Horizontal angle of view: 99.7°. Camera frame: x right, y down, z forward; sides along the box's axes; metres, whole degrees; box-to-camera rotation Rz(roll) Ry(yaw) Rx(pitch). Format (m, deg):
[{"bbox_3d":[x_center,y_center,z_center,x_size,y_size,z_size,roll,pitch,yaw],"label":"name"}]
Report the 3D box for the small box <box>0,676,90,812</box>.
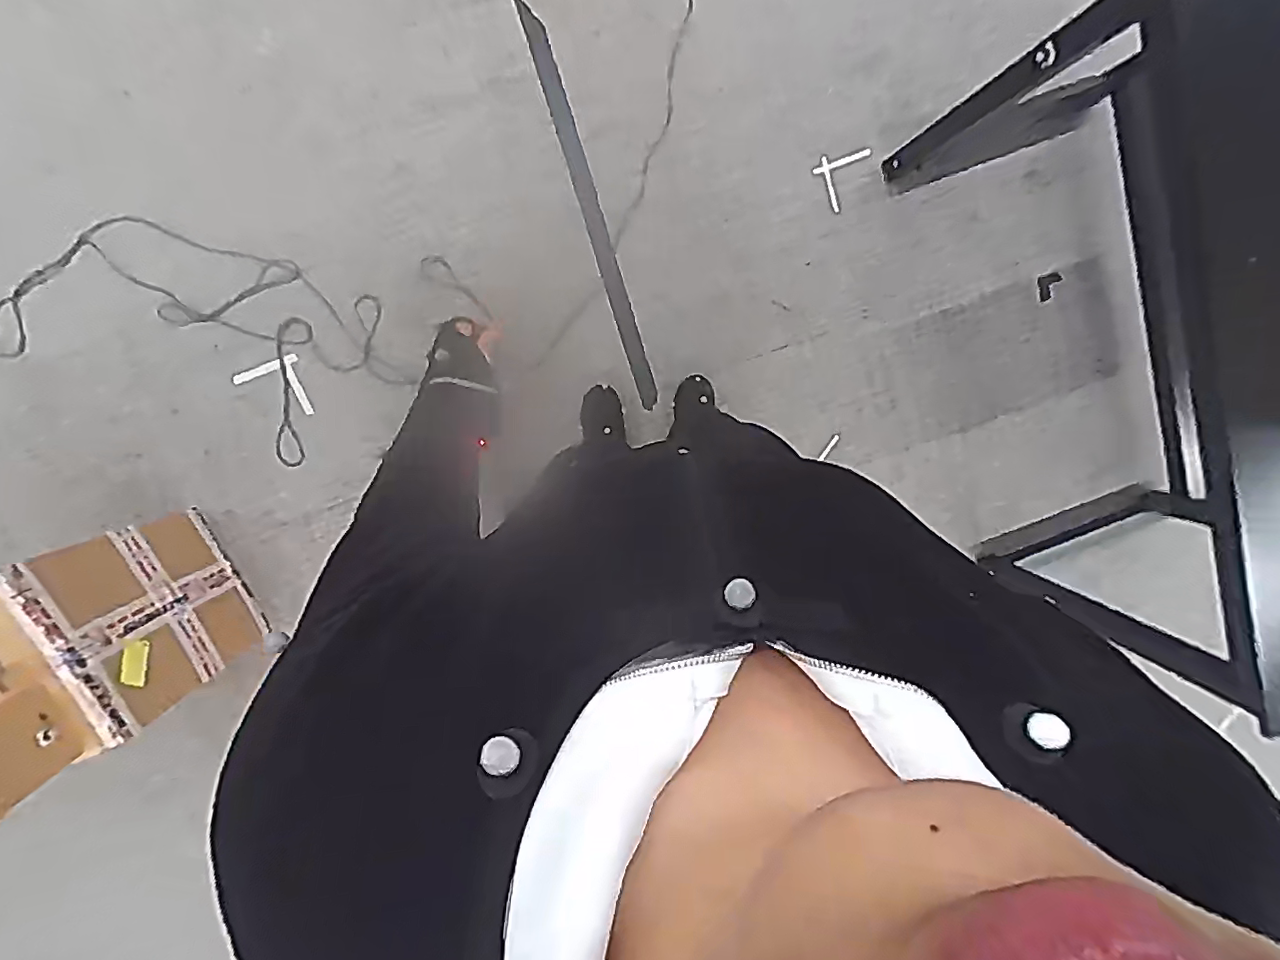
[{"bbox_3d":[-1.149,0.478,0.944,0.179,0.176,0.168,-21,103,-4],"label":"small box"}]
